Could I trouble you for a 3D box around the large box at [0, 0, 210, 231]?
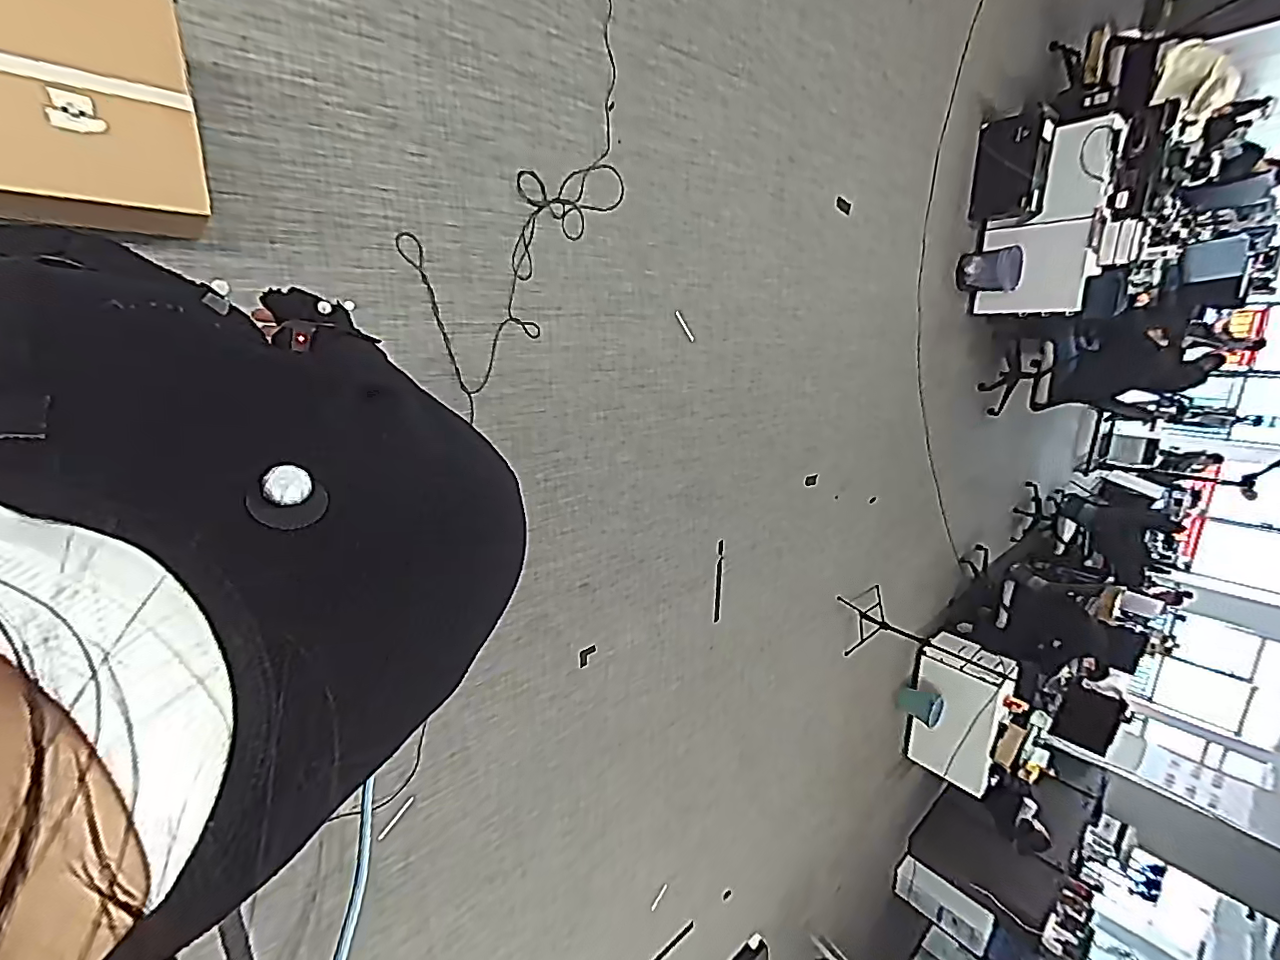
[{"bbox_3d":[-0.939,-0.583,0.814,0.408,0.320,0.320,-12,110,-40],"label":"large box"}]
